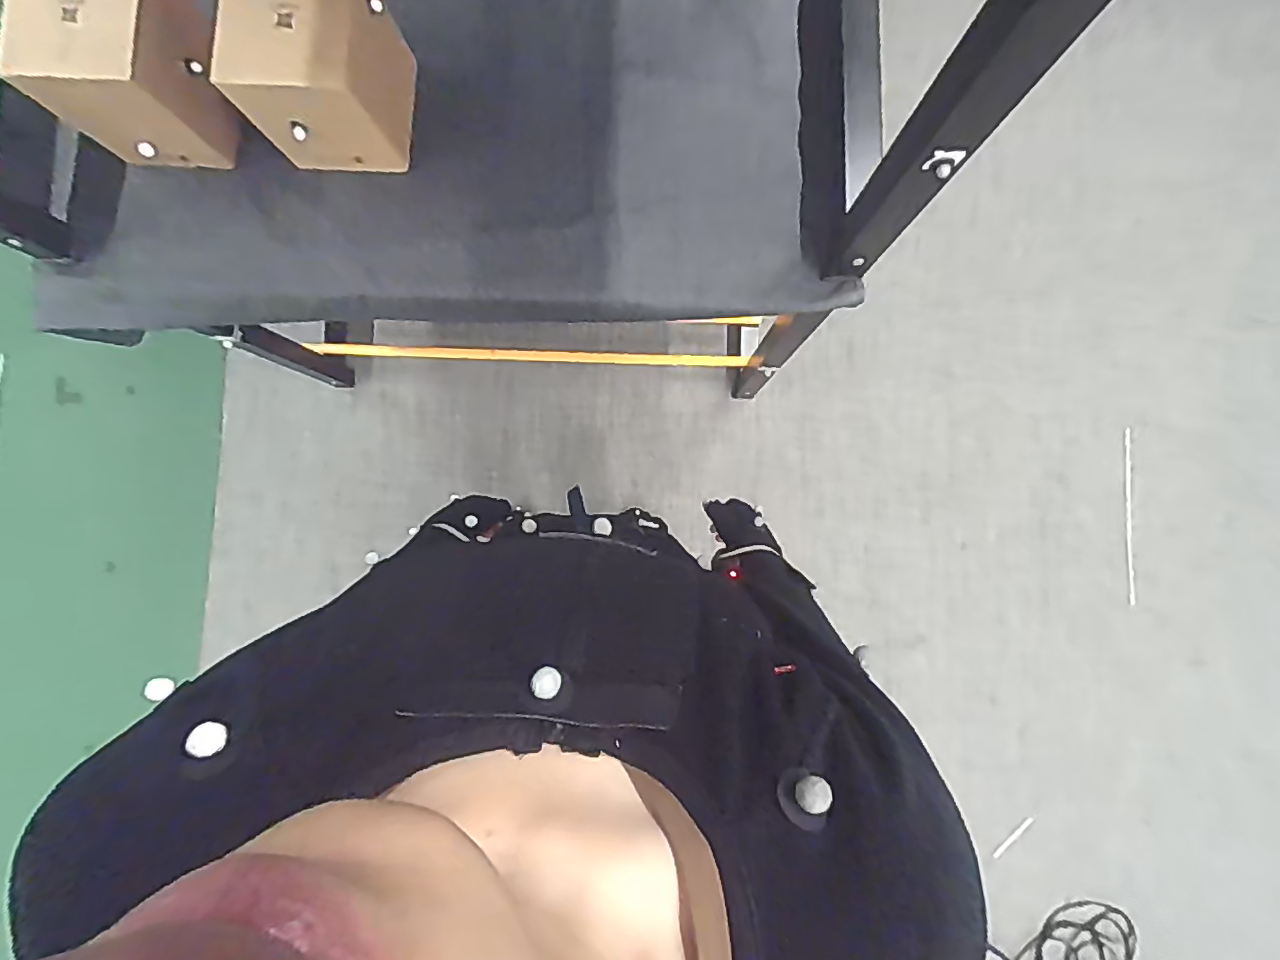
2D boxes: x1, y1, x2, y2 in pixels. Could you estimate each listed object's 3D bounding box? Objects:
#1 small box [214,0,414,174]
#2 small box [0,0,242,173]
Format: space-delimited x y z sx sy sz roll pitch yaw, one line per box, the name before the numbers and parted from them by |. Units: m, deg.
small box | -0.422 -0.543 0.728 0.168 0.176 0.179 2 86 1
small box | -0.675 -0.552 0.728 0.168 0.176 0.179 3 87 1
